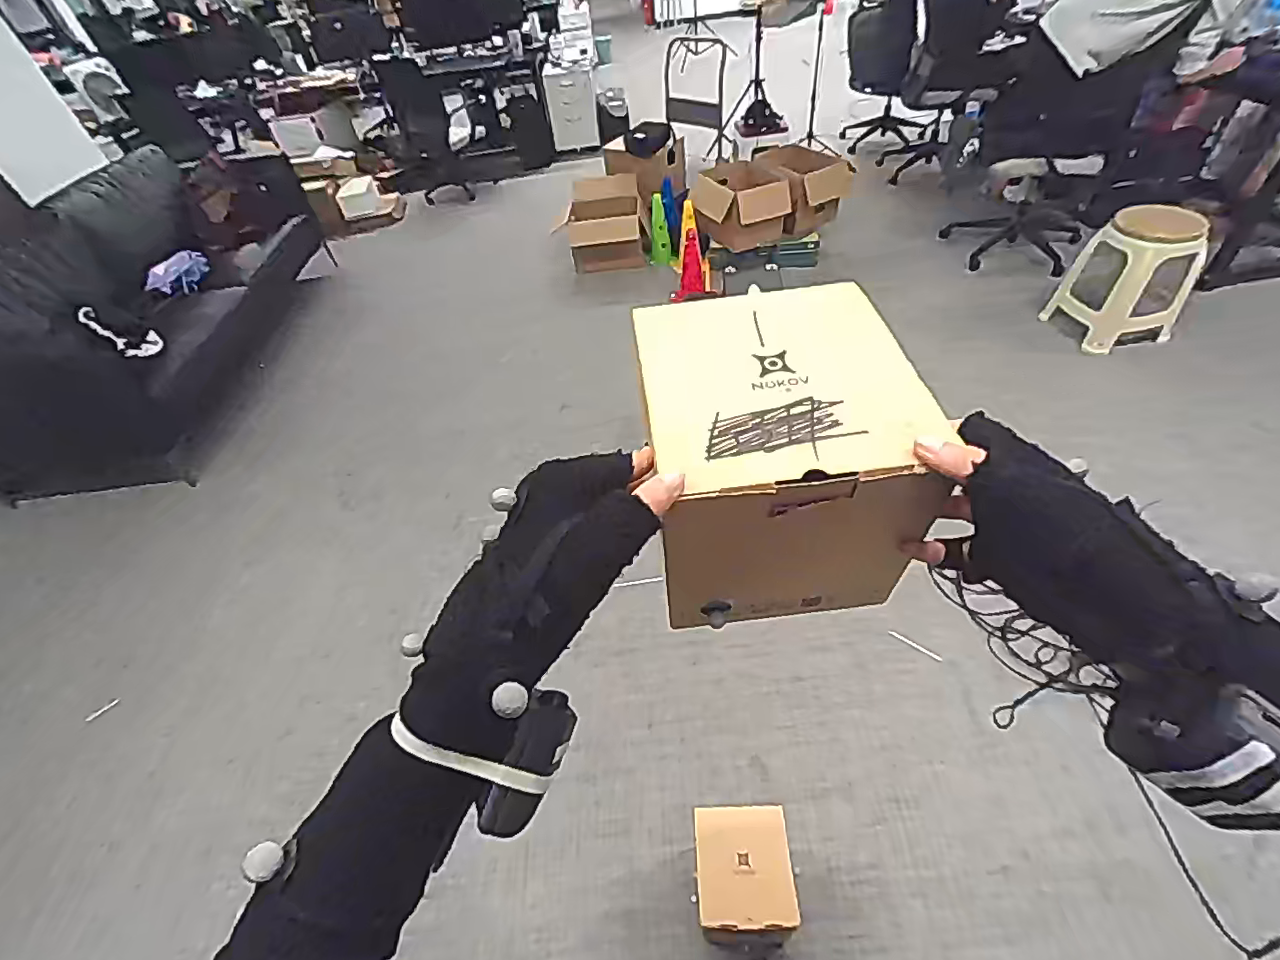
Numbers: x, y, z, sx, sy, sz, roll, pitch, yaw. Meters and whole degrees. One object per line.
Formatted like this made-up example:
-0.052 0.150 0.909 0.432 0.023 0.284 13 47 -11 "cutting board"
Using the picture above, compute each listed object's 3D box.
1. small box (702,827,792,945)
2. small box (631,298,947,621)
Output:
0.214 0.842 1.121 0.168 0.176 0.179 -4 47 6 "small box"
0.087 -0.007 0.406 0.168 0.176 0.179 -7 50 0 "small box"
